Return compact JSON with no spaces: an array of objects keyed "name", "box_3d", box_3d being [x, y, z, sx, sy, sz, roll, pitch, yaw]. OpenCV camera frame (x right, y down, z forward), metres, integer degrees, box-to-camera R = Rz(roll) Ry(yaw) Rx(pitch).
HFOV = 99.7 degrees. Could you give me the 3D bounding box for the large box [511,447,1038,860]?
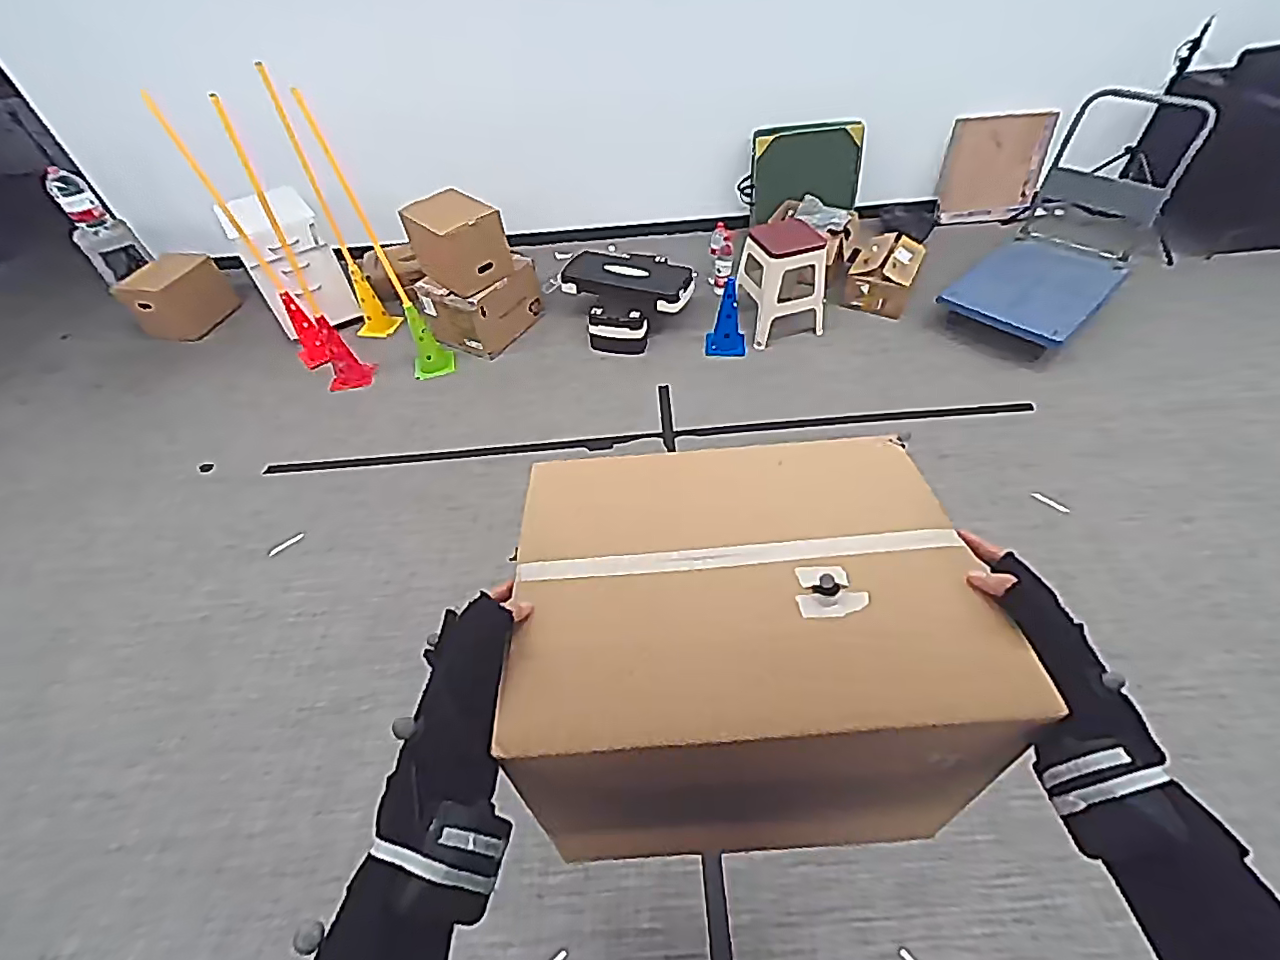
[{"name":"large box","box_3d":[0.100,0.191,0.607,0.408,0.320,0.320,-5,43,1]}]
